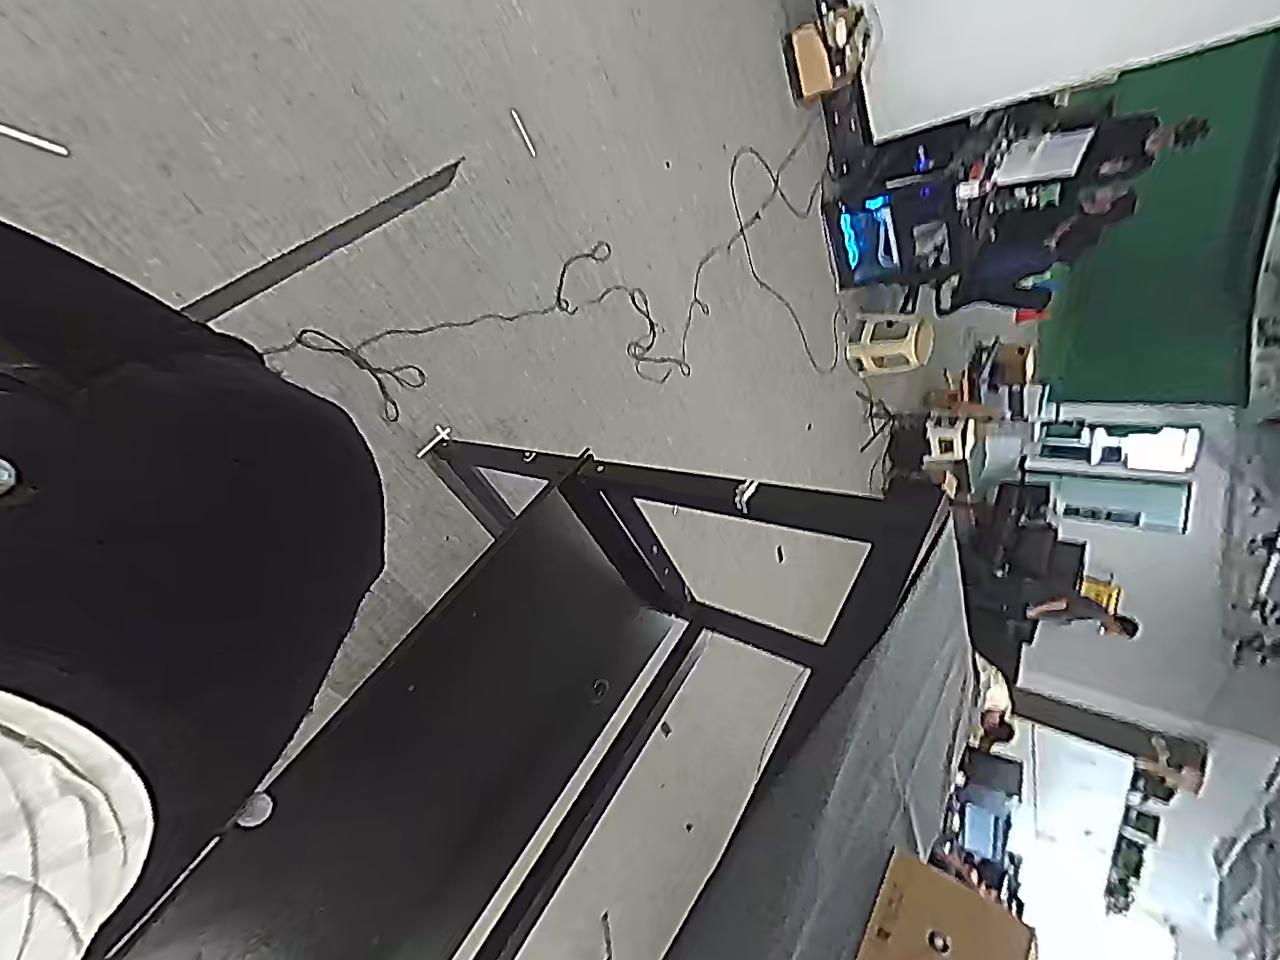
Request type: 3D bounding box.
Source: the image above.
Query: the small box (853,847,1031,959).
[{"bbox_3d":[0.407,0.640,0.730,0.168,0.176,0.179,-51,130,-27],"label":"small box"}]
